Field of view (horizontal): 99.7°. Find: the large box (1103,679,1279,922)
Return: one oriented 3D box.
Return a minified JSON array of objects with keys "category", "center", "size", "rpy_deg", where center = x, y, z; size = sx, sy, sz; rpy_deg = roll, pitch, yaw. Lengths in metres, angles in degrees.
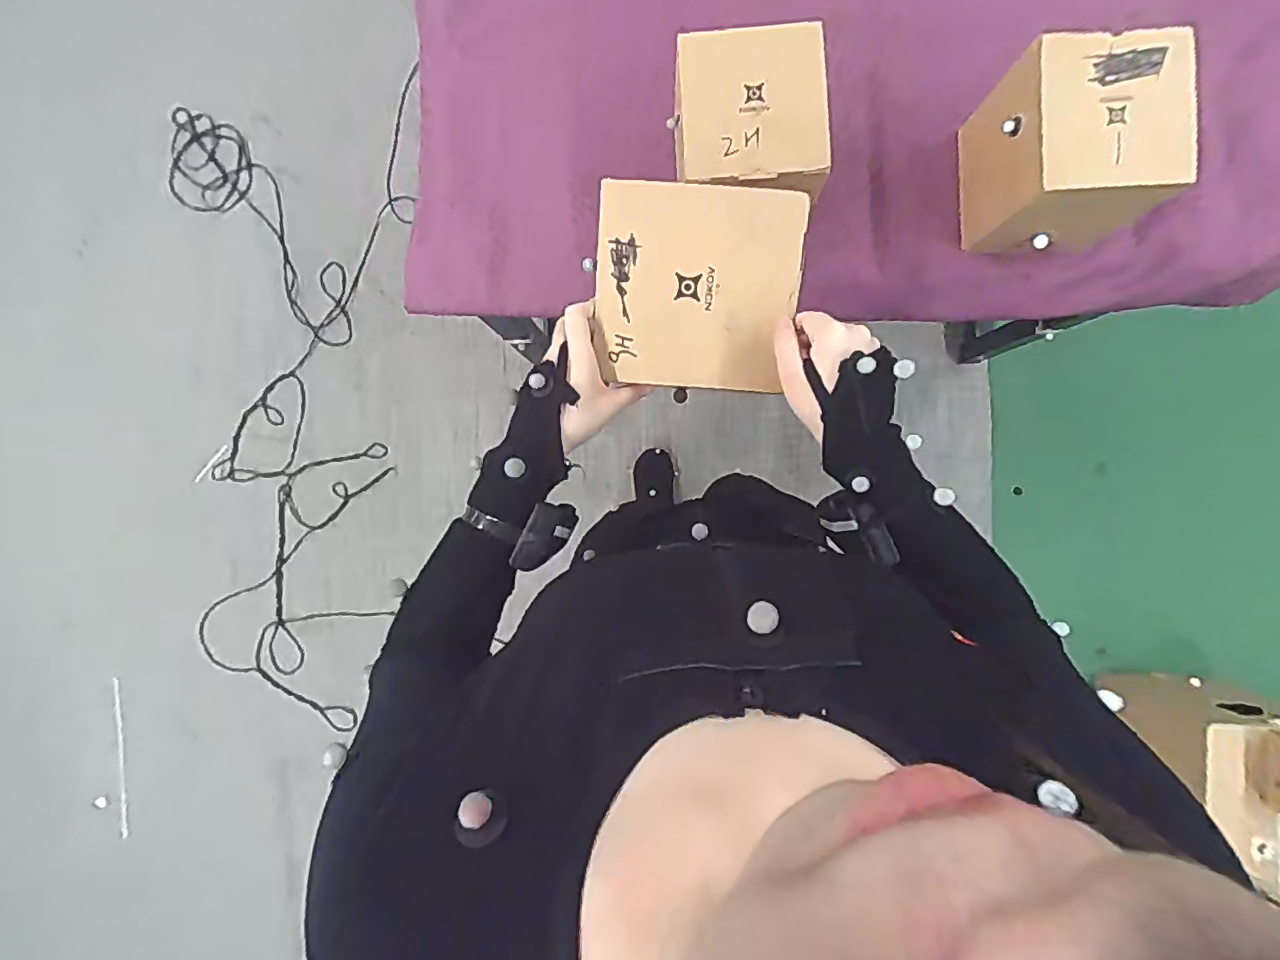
[{"category":"large box","center":[1.373,0.724,1.279],"size":[0.320,0.320,0.408],"rpy_deg":[0,91,4]}]

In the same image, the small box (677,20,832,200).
[{"category":"small box","center":[0.133,-0.422,0.685],"size":[0.168,0.176,0.179],"rpy_deg":[-3,88,4]}]

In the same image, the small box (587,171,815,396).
[{"category":"small box","center":[0.049,-0.174,0.526],"size":[0.179,0.176,0.168],"rpy_deg":[5,100,0]}]

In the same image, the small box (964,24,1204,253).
[{"category":"small box","center":[0.526,-0.403,0.665],"size":[0.168,0.176,0.179],"rpy_deg":[-1,90,3]}]
